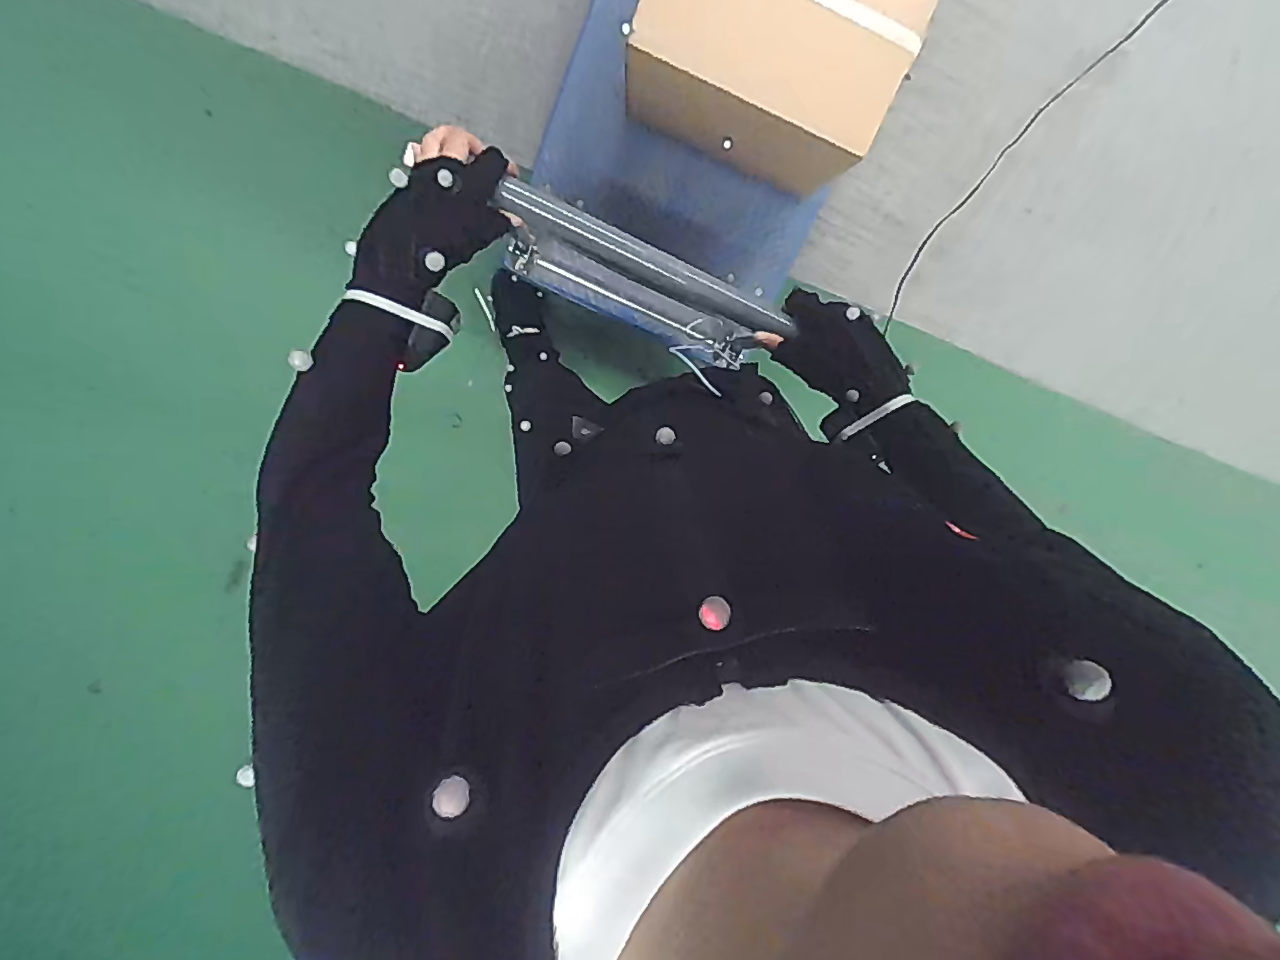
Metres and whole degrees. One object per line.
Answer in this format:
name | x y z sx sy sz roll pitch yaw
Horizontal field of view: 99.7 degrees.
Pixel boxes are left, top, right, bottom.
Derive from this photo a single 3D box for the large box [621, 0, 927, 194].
large box | 0.211 -0.751 0.922 0.408 0.320 0.320 22 104 -6
